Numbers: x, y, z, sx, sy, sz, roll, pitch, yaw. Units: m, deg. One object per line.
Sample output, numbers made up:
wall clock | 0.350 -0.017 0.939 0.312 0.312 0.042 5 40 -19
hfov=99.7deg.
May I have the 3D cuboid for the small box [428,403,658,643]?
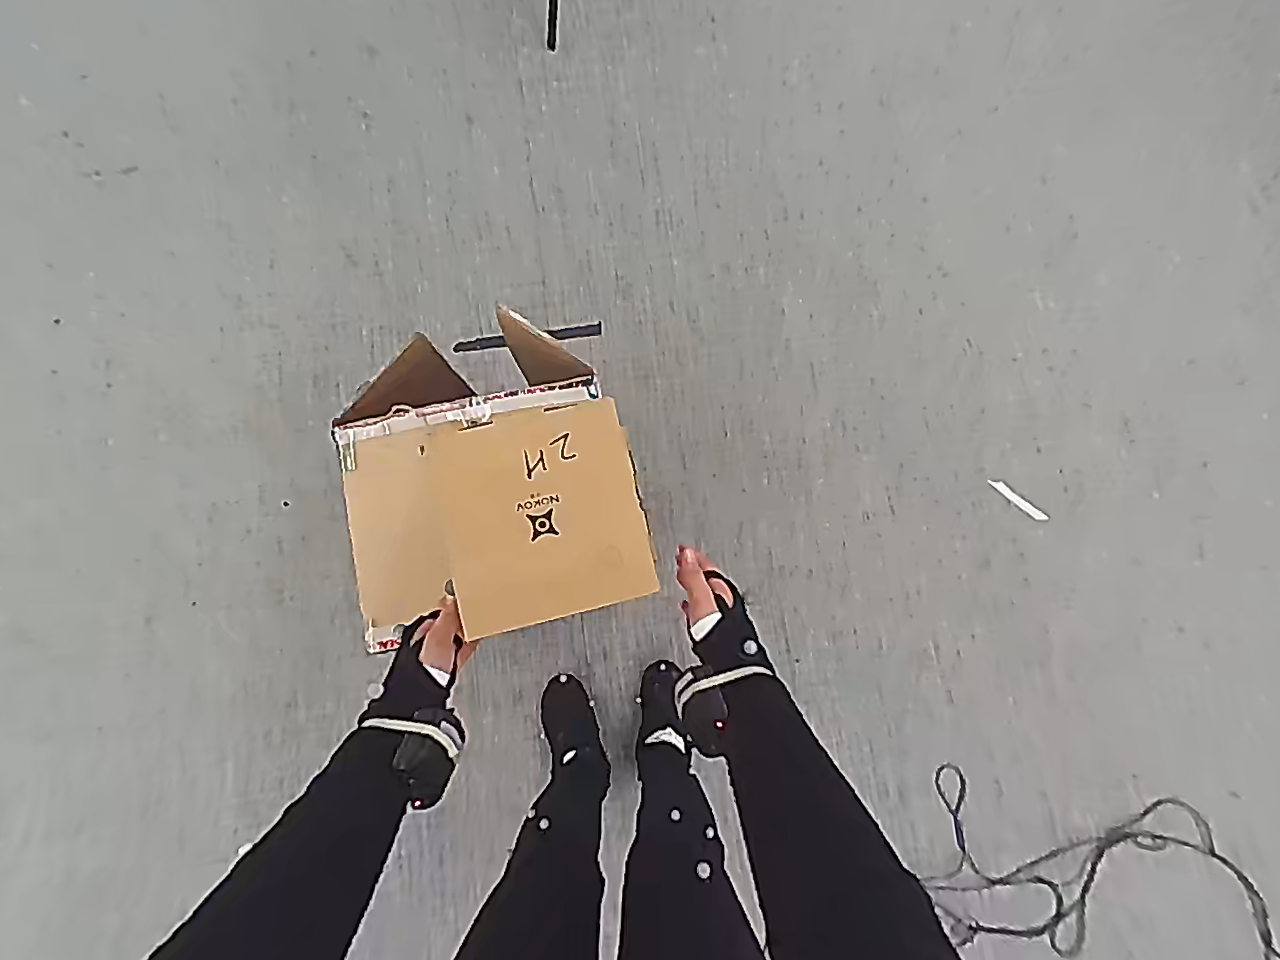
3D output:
small box | -0.087 0.041 0.535 0.168 0.176 0.179 -14 85 -6
